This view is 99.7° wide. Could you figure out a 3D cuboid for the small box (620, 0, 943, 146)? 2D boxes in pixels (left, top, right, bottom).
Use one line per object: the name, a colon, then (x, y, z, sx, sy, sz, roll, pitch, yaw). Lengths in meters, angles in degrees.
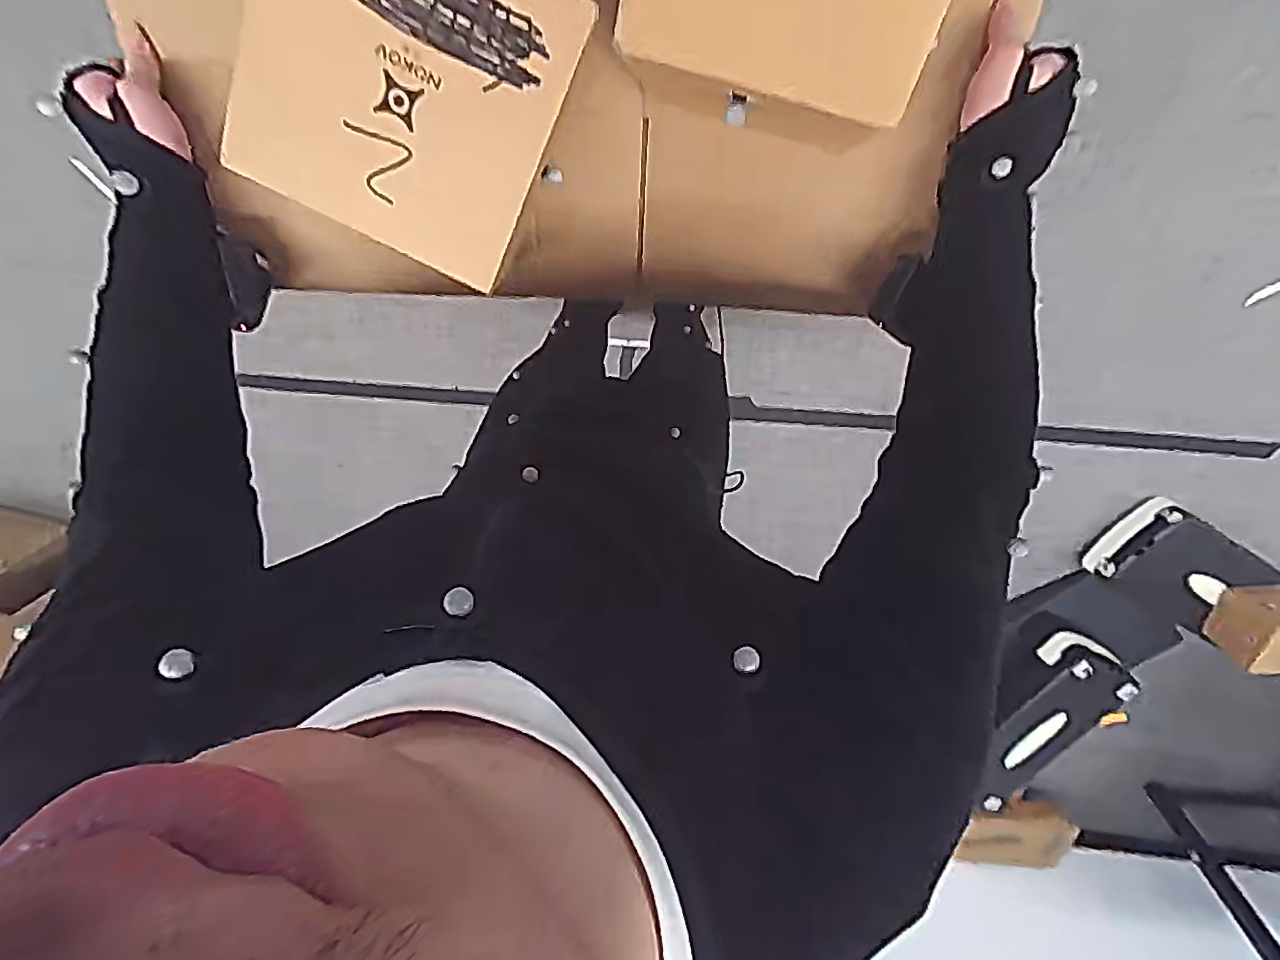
small box: (0.104, -0.341, 0.363, 0.179, 0.176, 0.168, 19, 119, 3)
